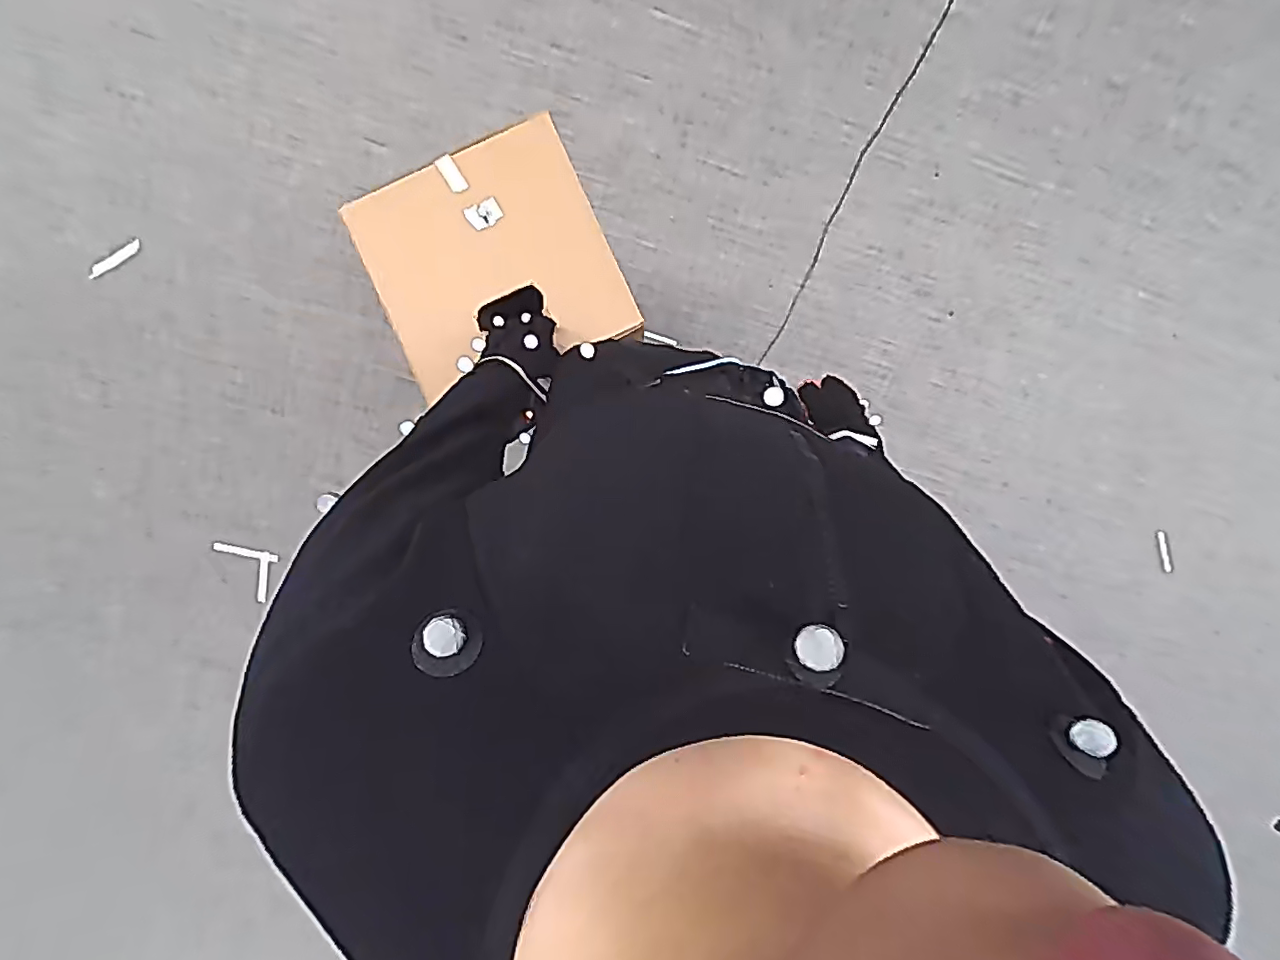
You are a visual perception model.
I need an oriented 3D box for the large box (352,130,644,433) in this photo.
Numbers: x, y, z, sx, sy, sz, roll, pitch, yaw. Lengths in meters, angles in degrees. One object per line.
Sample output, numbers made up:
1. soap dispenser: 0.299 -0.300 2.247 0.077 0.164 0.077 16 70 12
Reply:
1. large box: -0.196 -0.289 0.928 0.320 0.408 0.320 -24 92 1
